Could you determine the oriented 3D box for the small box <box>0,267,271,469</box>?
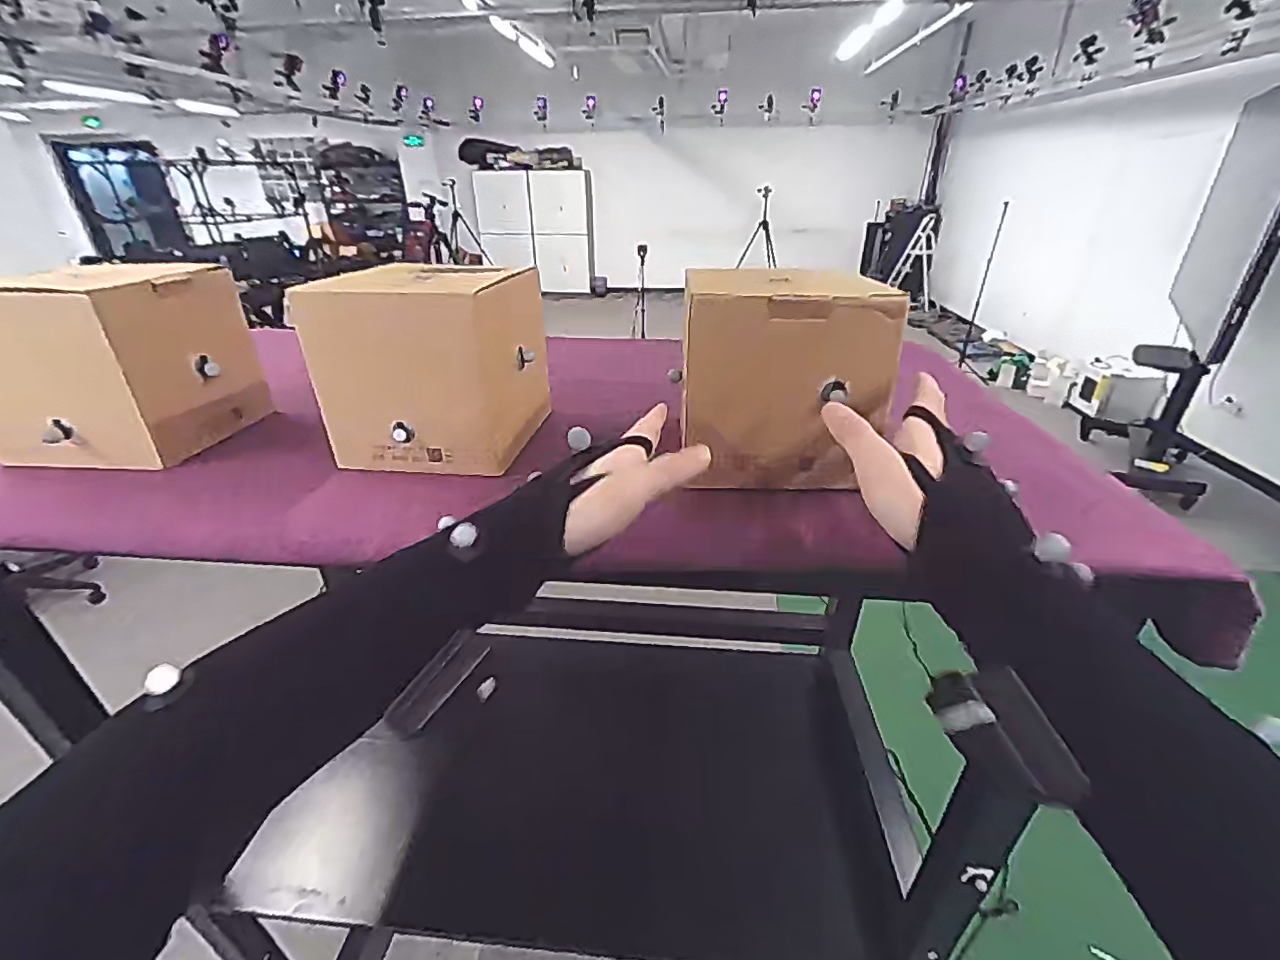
[{"bbox_3d":[-0.534,-0.120,0.562,0.179,0.176,0.168,2,27,3],"label":"small box"}]

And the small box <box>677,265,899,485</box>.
[{"bbox_3d":[0.121,-0.104,0.514,0.168,0.176,0.179,1,27,4],"label":"small box"}]
